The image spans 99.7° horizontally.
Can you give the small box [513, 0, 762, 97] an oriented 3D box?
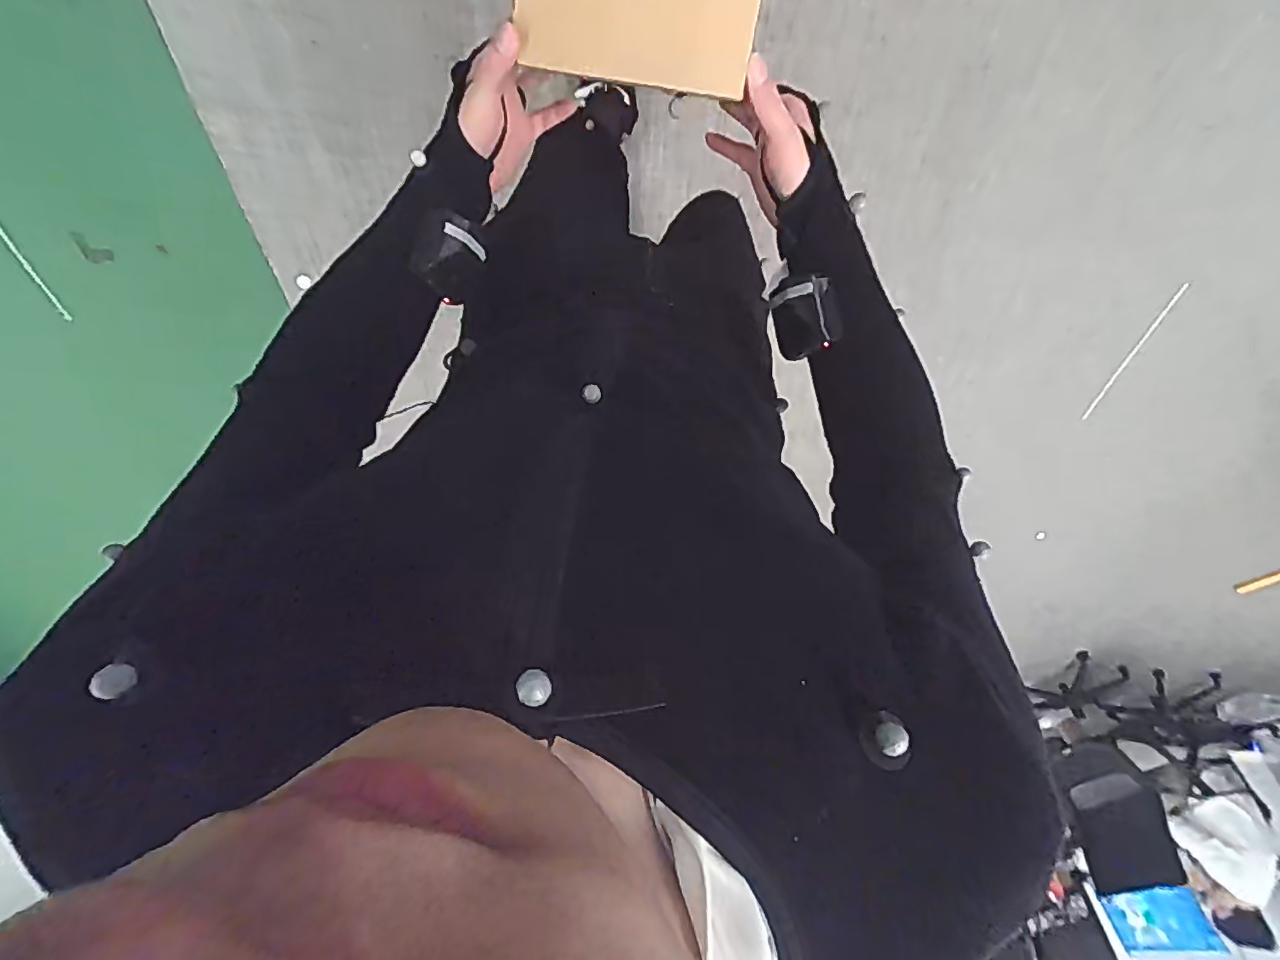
[{"bbox_3d":[0.004,-0.414,0.422,0.179,0.176,0.168,7,125,-3],"label":"small box"}]
